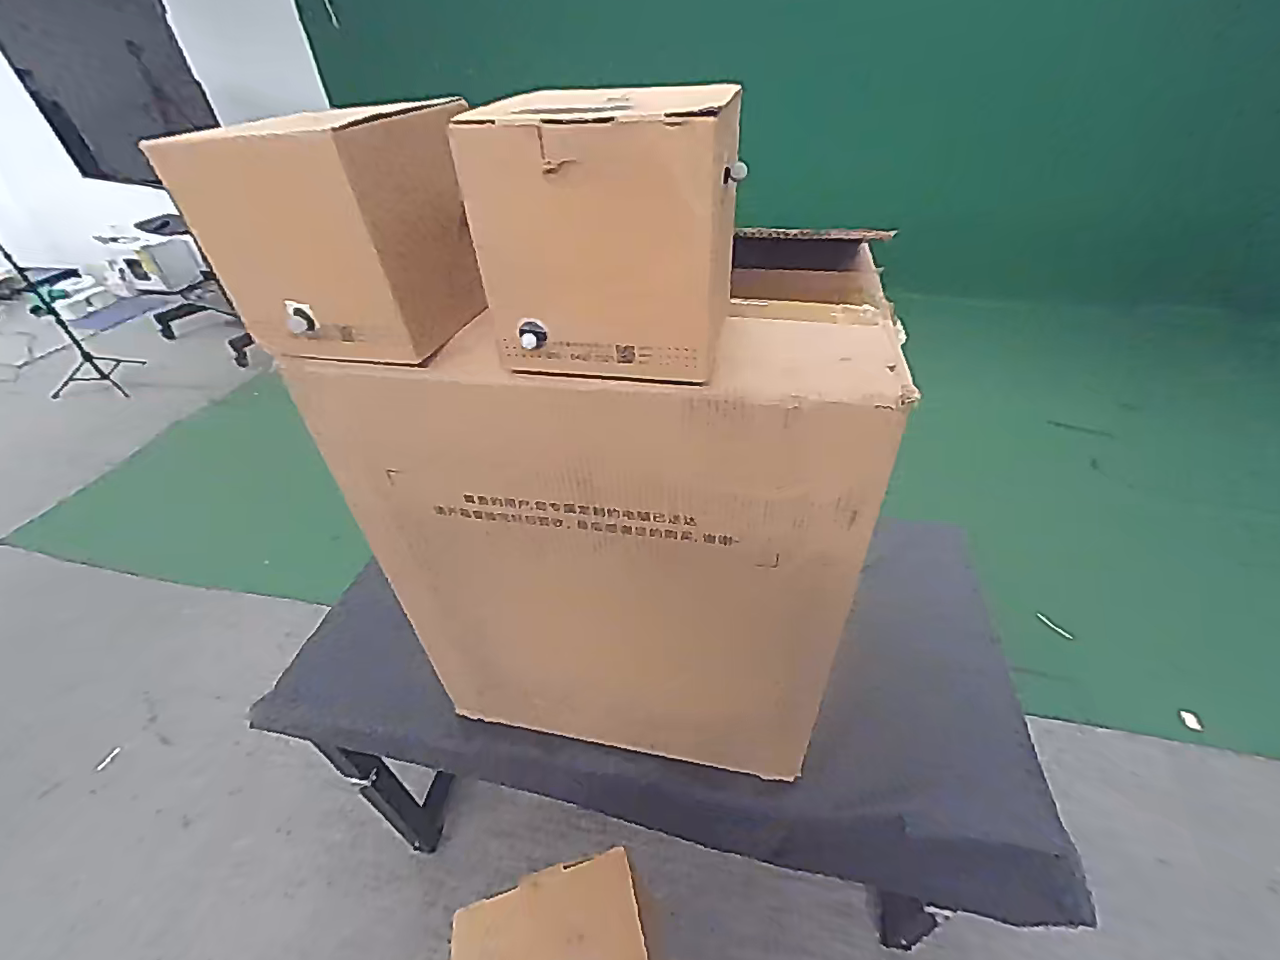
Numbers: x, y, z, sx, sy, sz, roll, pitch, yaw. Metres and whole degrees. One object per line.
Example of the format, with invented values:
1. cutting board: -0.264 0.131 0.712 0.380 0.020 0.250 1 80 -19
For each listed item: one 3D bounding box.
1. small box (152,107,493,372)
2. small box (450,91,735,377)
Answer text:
1. small box: -0.243 -0.213 0.476 0.168 0.176 0.179 4 41 14
2. small box: -0.018 -0.195 0.429 0.168 0.176 0.179 6 39 10
